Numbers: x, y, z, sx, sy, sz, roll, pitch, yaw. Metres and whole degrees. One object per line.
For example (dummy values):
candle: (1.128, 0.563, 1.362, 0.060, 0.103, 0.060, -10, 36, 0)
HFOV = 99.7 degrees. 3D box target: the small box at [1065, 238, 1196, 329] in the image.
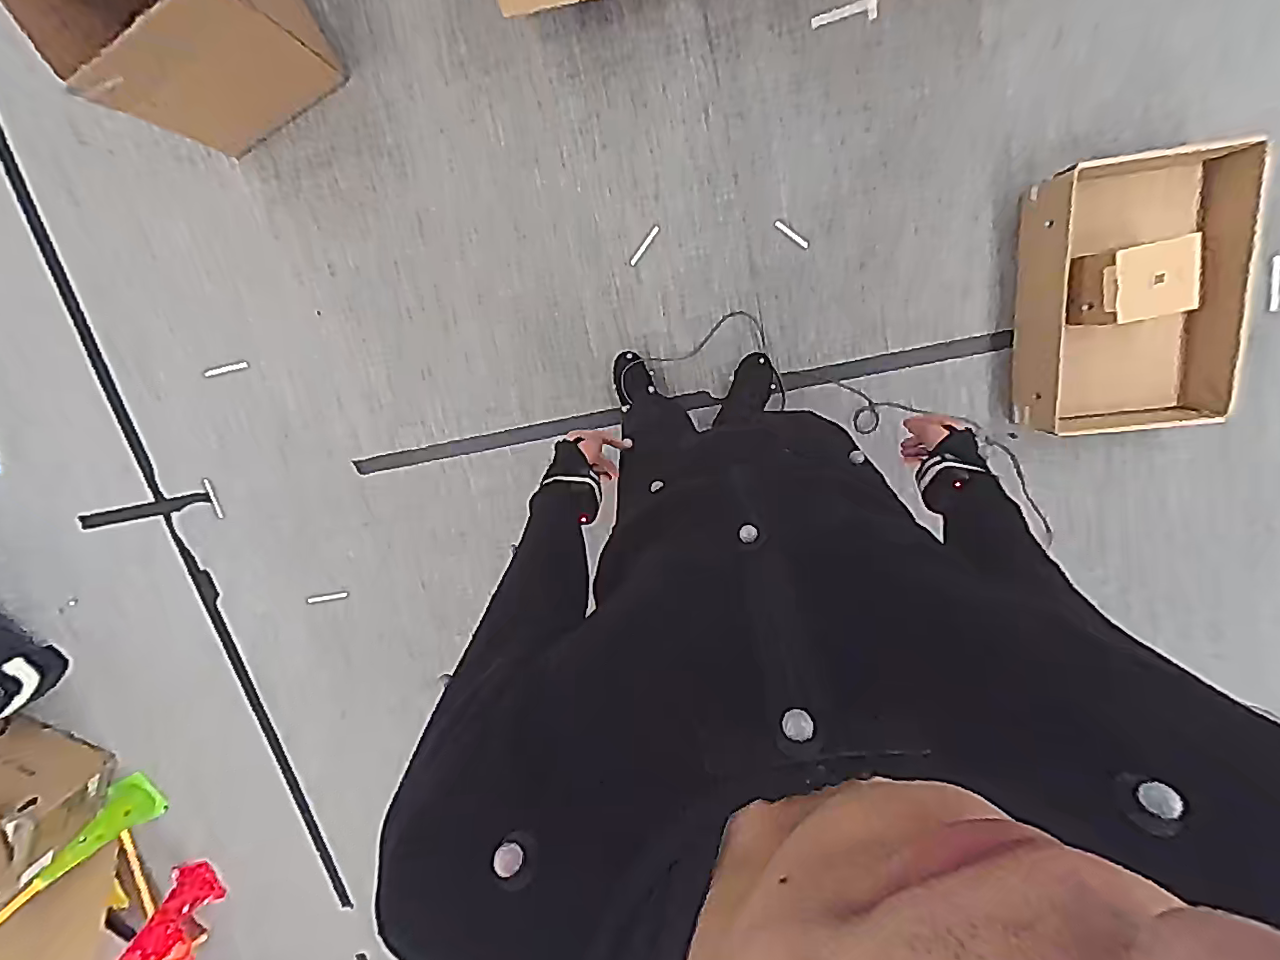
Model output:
small box: (1.158, -0.461, 1.292, 0.179, 0.176, 0.168, -11, 104, 8)

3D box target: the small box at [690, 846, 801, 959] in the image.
small box: (0.191, 0.812, 0.995, 0.168, 0.176, 0.179, -16, 103, 9)
